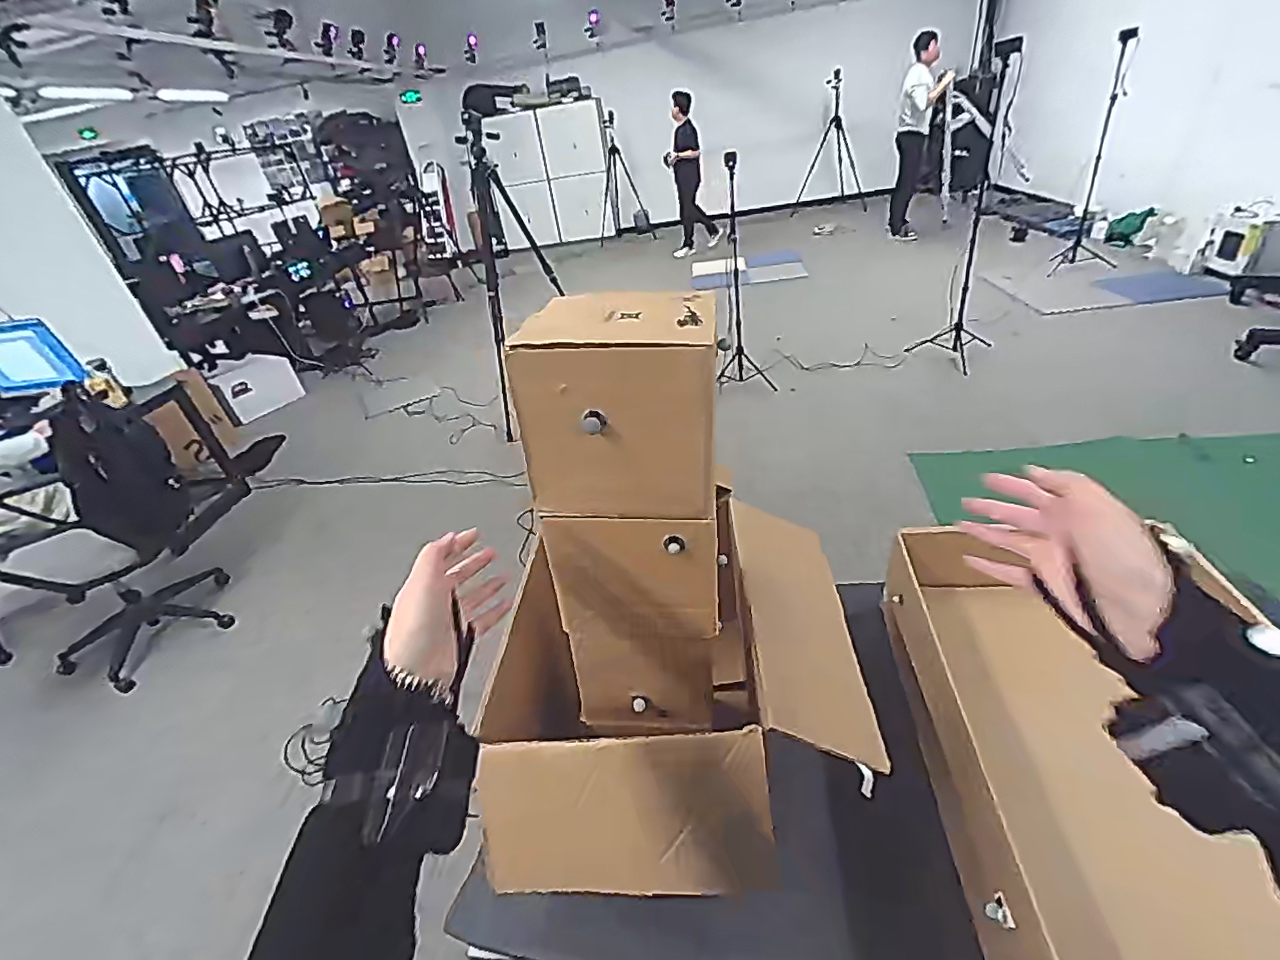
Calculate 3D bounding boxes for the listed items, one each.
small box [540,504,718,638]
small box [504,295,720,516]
[{"bbox_3d":[0.001,0.063,0.626,0.179,0.176,0.168,0,33,7],"label":"small box"},{"bbox_3d":[-0.011,-0.077,0.541,0.179,0.176,0.168,0,33,9],"label":"small box"}]
